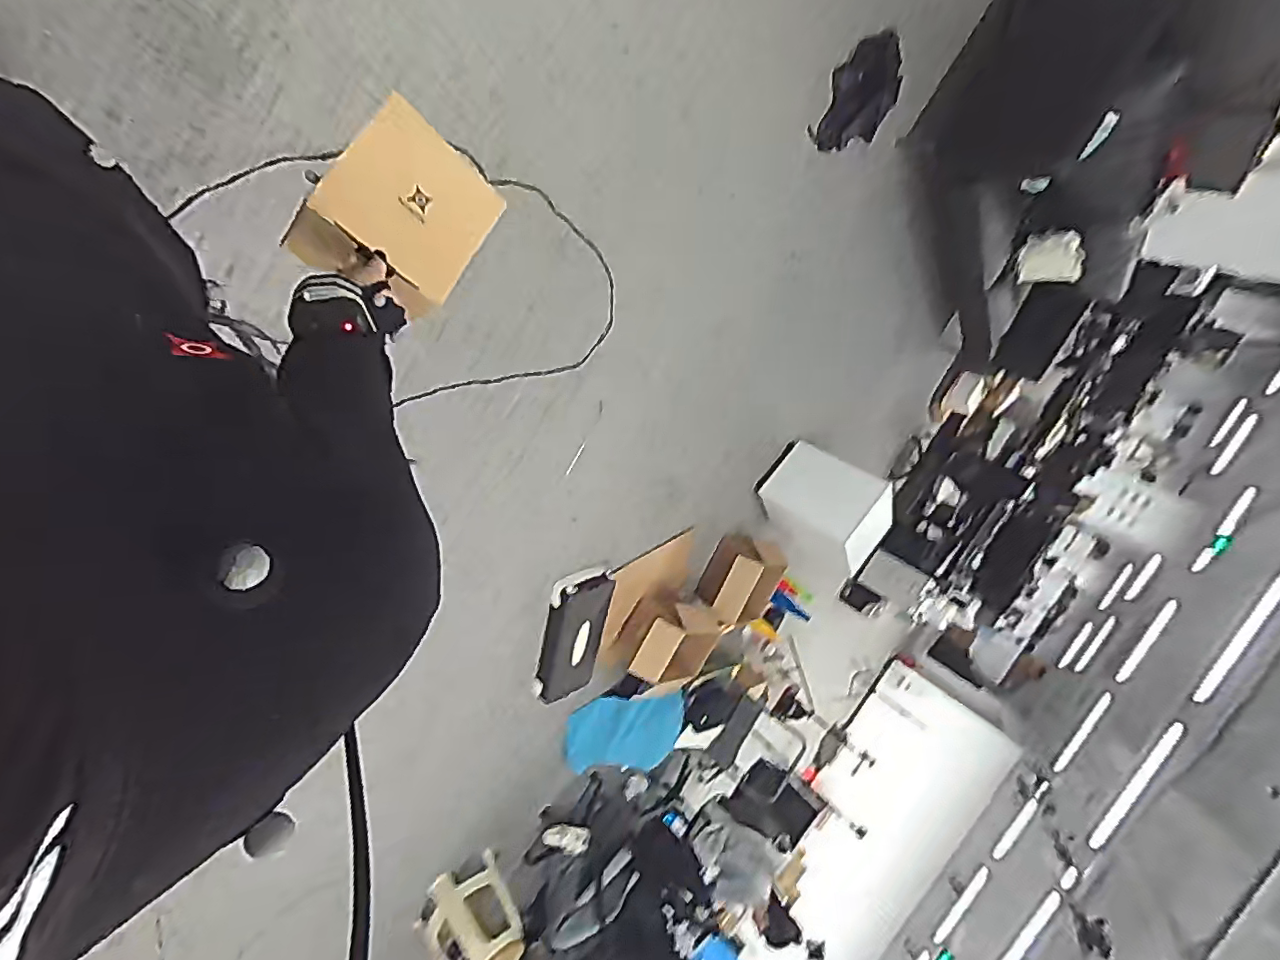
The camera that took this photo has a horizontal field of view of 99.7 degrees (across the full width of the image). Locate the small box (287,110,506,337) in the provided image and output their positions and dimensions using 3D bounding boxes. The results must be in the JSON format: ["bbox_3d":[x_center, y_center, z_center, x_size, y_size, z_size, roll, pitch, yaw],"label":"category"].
[{"bbox_3d":[-0.311,-0.308,0.686,0.168,0.176,0.179,40,66,-36],"label":"small box"}]
